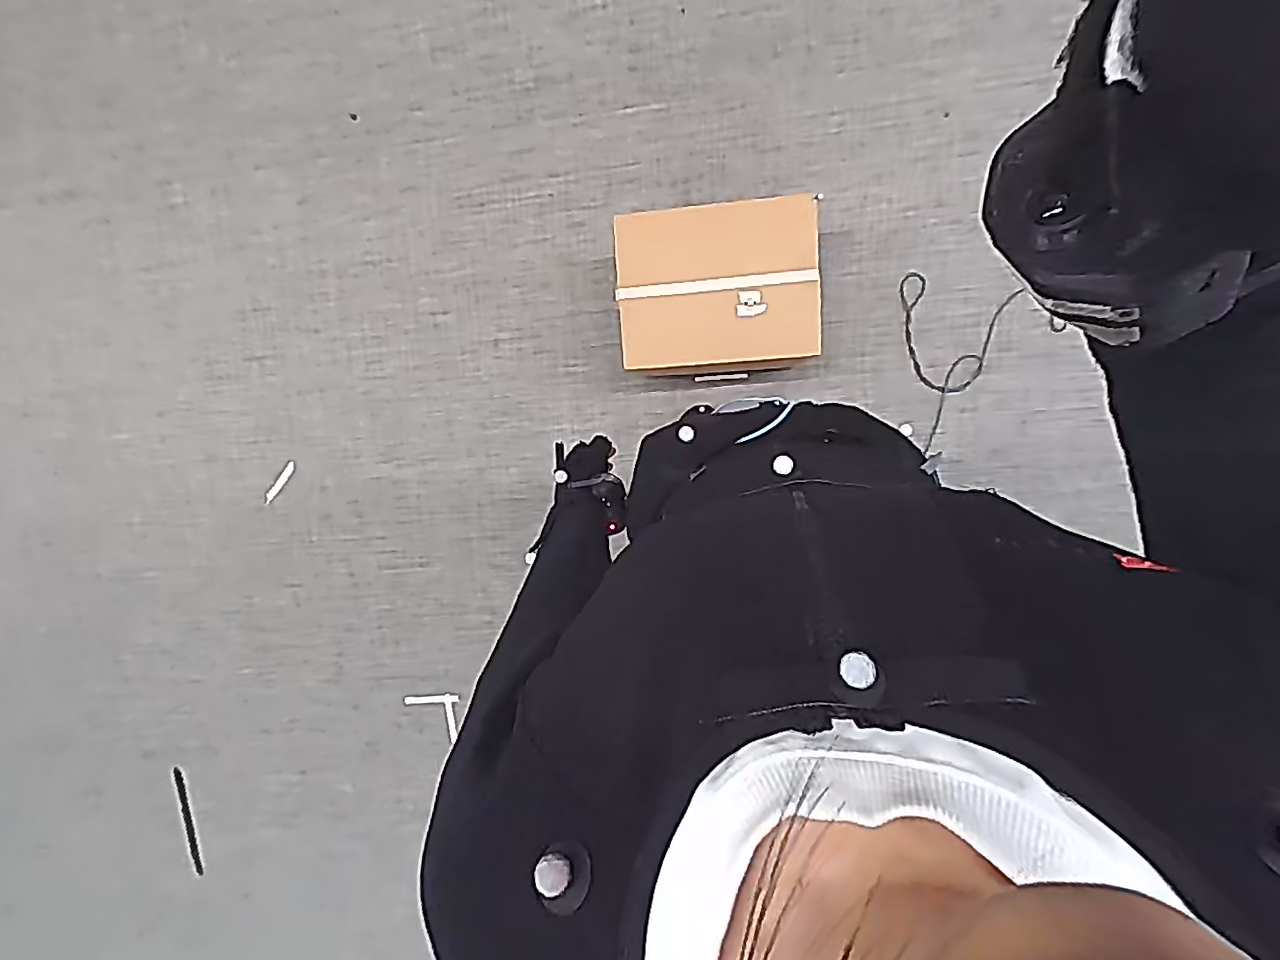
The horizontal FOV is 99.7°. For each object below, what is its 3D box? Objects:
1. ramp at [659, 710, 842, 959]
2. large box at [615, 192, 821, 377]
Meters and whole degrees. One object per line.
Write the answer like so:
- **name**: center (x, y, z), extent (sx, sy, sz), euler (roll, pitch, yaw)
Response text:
- **ramp**: center (0.300, 1.150, 1.494), extent (0.509, 0.206, 0.991), euler (-3, 97, 9)
- **large box**: center (0.172, -0.418, 1.244), extent (0.408, 0.320, 0.320), euler (-3, 98, 7)
